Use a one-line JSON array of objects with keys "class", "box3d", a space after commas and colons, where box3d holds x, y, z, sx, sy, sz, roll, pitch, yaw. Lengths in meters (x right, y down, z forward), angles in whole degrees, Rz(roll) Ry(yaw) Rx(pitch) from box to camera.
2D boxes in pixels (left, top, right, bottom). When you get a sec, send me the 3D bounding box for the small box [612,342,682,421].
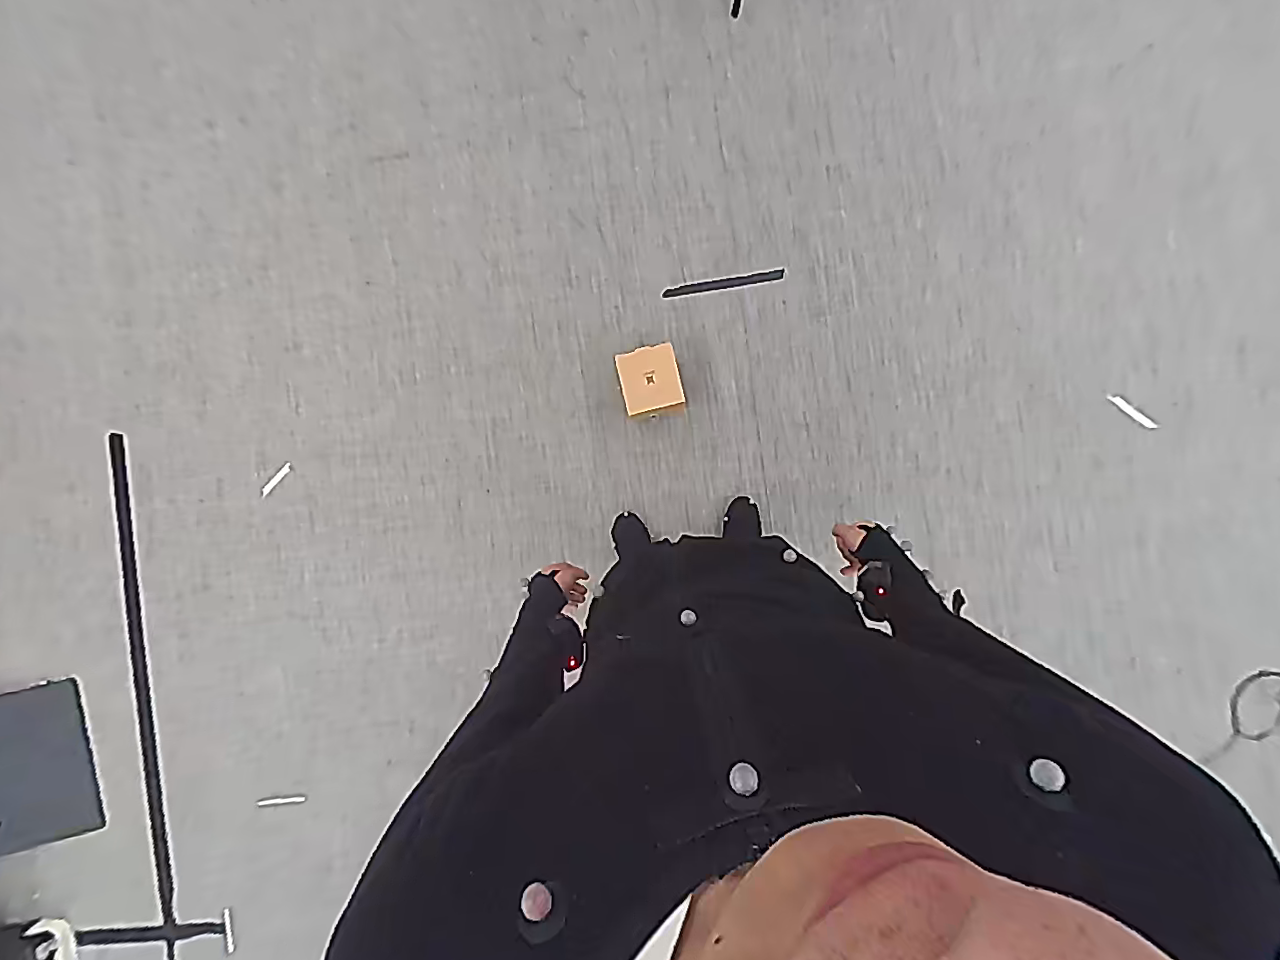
[{"class": "small box", "box3d": [0.022, -0.282, 1.581, 0.168, 0.176, 0.179, -13, 89, 3]}]
